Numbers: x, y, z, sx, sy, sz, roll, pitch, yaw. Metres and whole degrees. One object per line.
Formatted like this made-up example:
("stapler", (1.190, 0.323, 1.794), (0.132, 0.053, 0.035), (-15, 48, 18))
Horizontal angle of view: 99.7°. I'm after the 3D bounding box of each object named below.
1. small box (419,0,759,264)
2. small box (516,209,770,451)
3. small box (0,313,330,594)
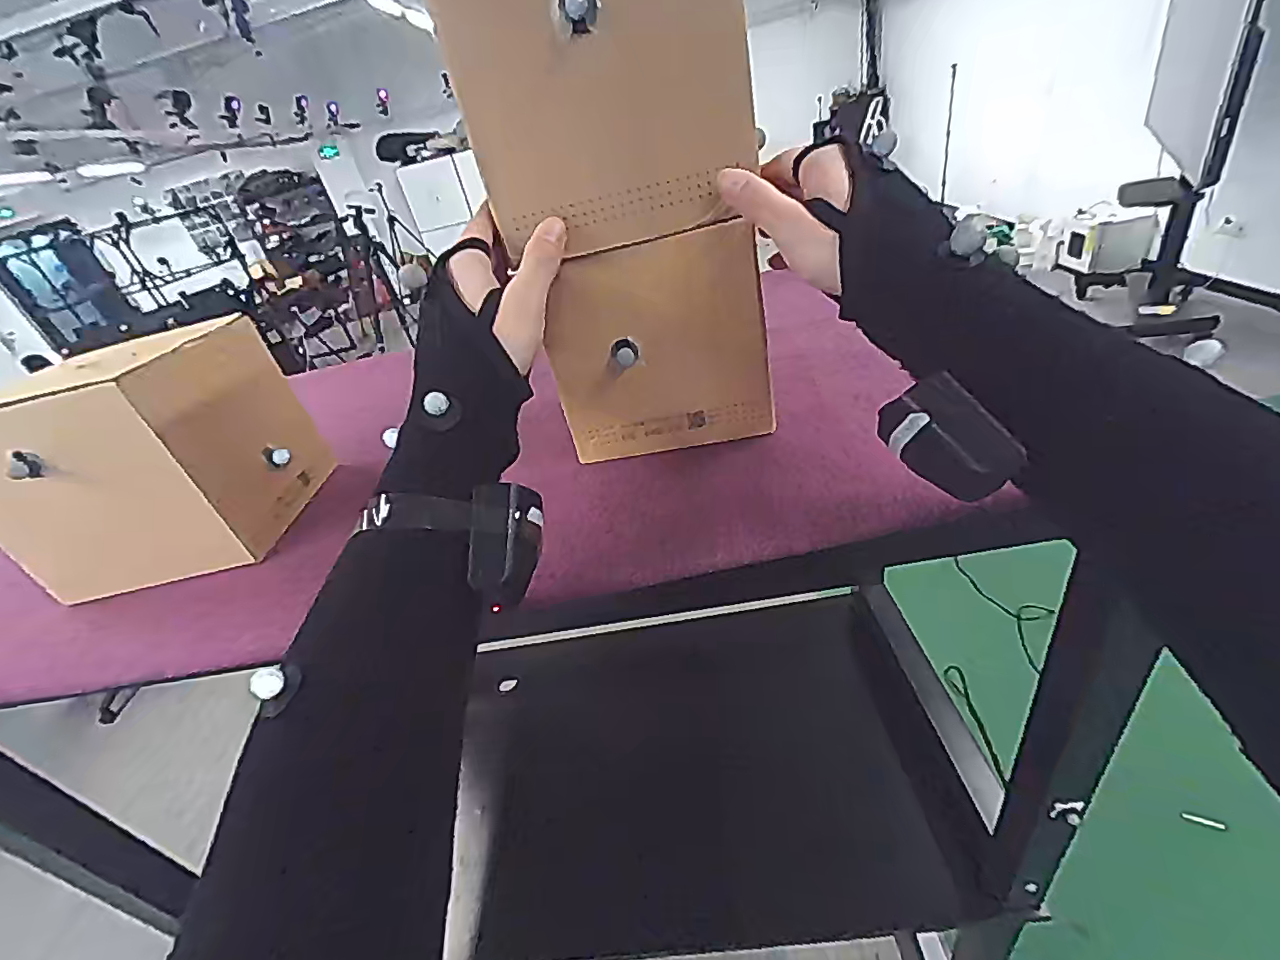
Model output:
("small box", (-0.024, -0.266, 0.381), (0.179, 0.176, 0.168), (-11, 32, 6))
("small box", (0.014, -0.136, 0.473), (0.168, 0.176, 0.179), (-9, 31, 10))
("small box", (-0.420, -0.023, 0.469), (0.179, 0.176, 0.168), (-13, 32, 3))
